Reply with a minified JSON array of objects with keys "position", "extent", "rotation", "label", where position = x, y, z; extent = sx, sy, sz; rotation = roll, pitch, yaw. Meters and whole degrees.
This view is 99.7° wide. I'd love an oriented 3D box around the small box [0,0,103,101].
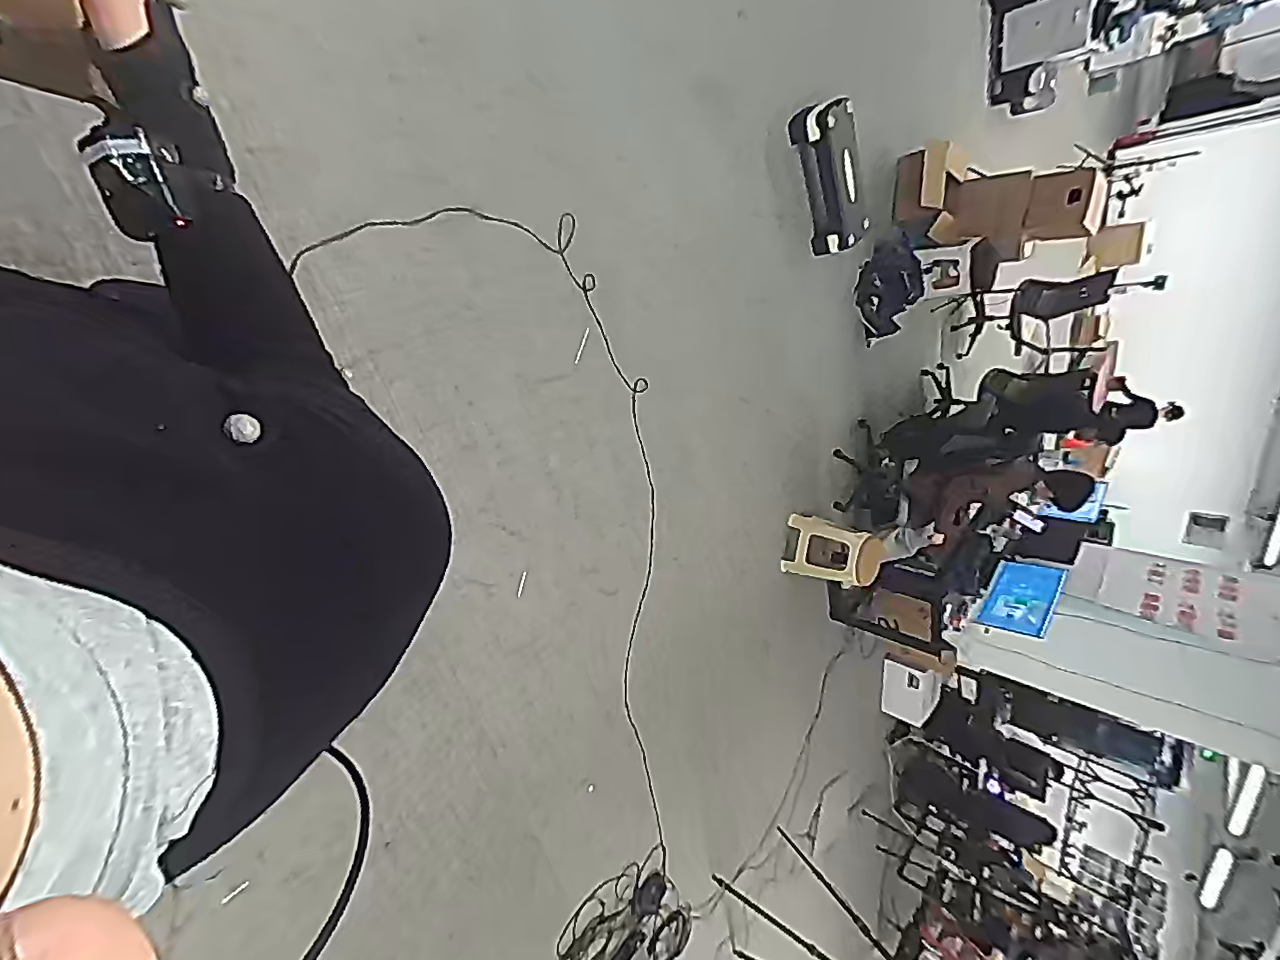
[{"position":[-0.431,-0.367,0.309],"extent":[0.168,0.176,0.179],"rotation":[-5,95,-43],"label":"small box"}]
